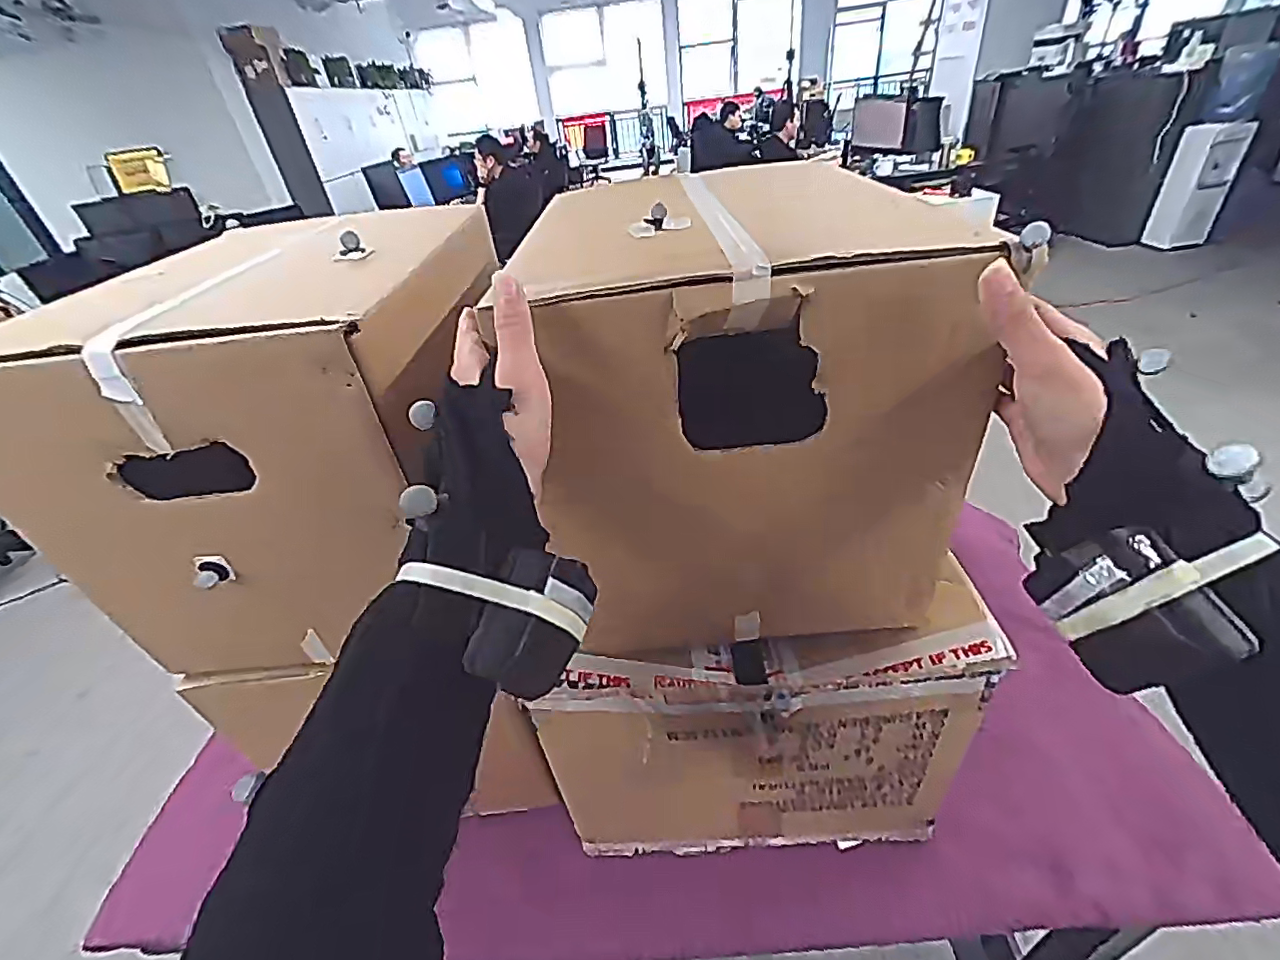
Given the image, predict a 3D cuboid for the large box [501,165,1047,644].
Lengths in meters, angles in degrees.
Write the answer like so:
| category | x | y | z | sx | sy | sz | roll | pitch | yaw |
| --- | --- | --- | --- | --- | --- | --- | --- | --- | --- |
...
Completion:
| category | x | y | z | sx | sy | sz | roll | pitch | yaw |
| --- | --- | --- | --- | --- | --- | --- | --- | --- | --- |
| large box | 0.079 | -0.103 | 0.544 | 0.320 | 0.320 | 0.408 | -7 | 36 | 3 |
